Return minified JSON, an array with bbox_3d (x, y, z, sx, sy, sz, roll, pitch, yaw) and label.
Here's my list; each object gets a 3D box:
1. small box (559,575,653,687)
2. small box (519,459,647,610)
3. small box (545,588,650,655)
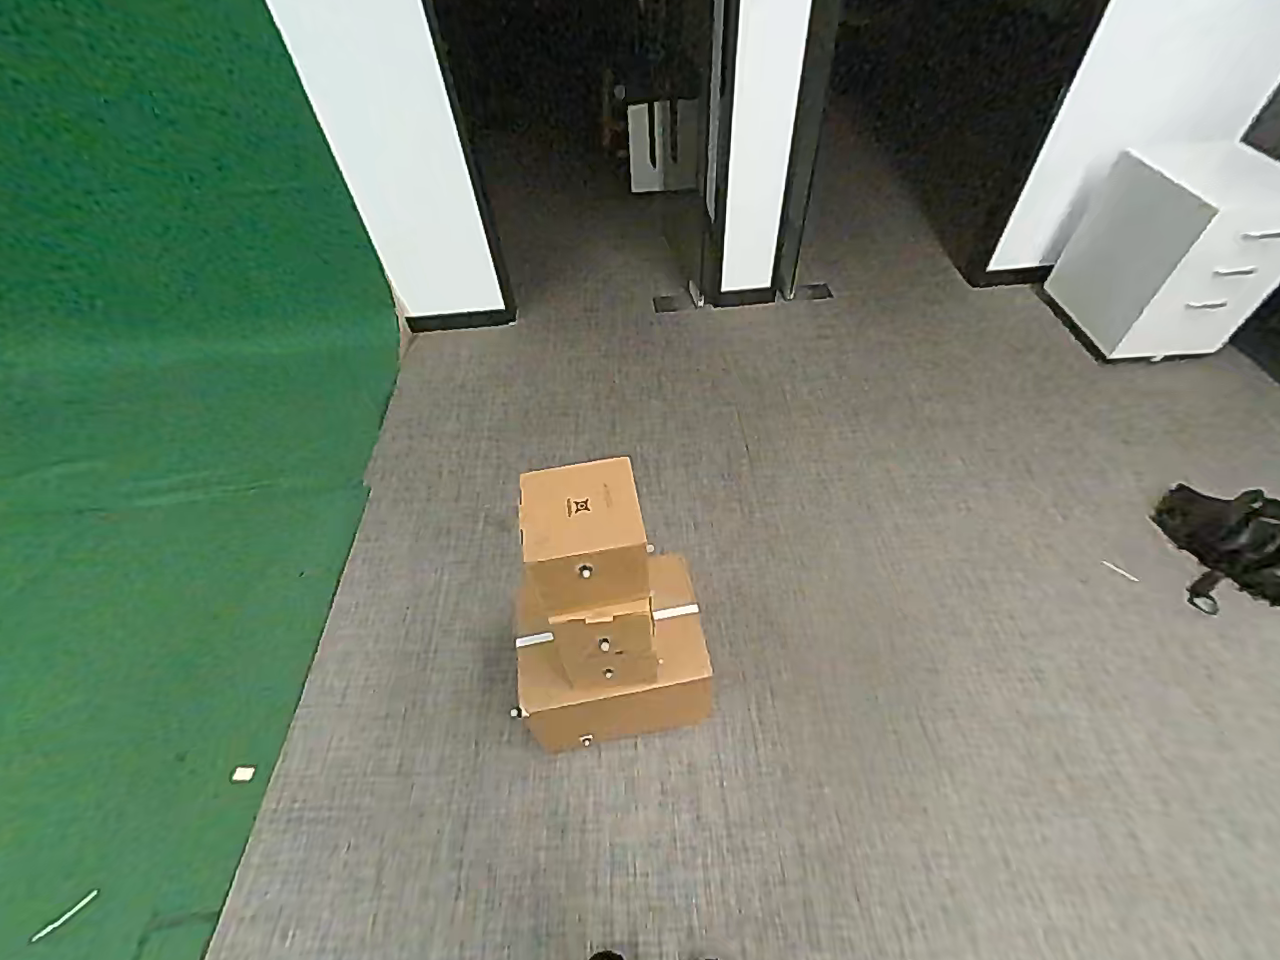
[{"bbox_3d":[-0.064,0.310,1.109,0.179,0.176,0.168,-6,50,0],"label":"small box"},{"bbox_3d":[-0.088,0.092,0.867,0.179,0.176,0.168,-9,51,-5],"label":"small box"},{"bbox_3d":[-0.073,0.206,0.983,0.168,0.176,0.179,-5,51,-1],"label":"small box"}]
